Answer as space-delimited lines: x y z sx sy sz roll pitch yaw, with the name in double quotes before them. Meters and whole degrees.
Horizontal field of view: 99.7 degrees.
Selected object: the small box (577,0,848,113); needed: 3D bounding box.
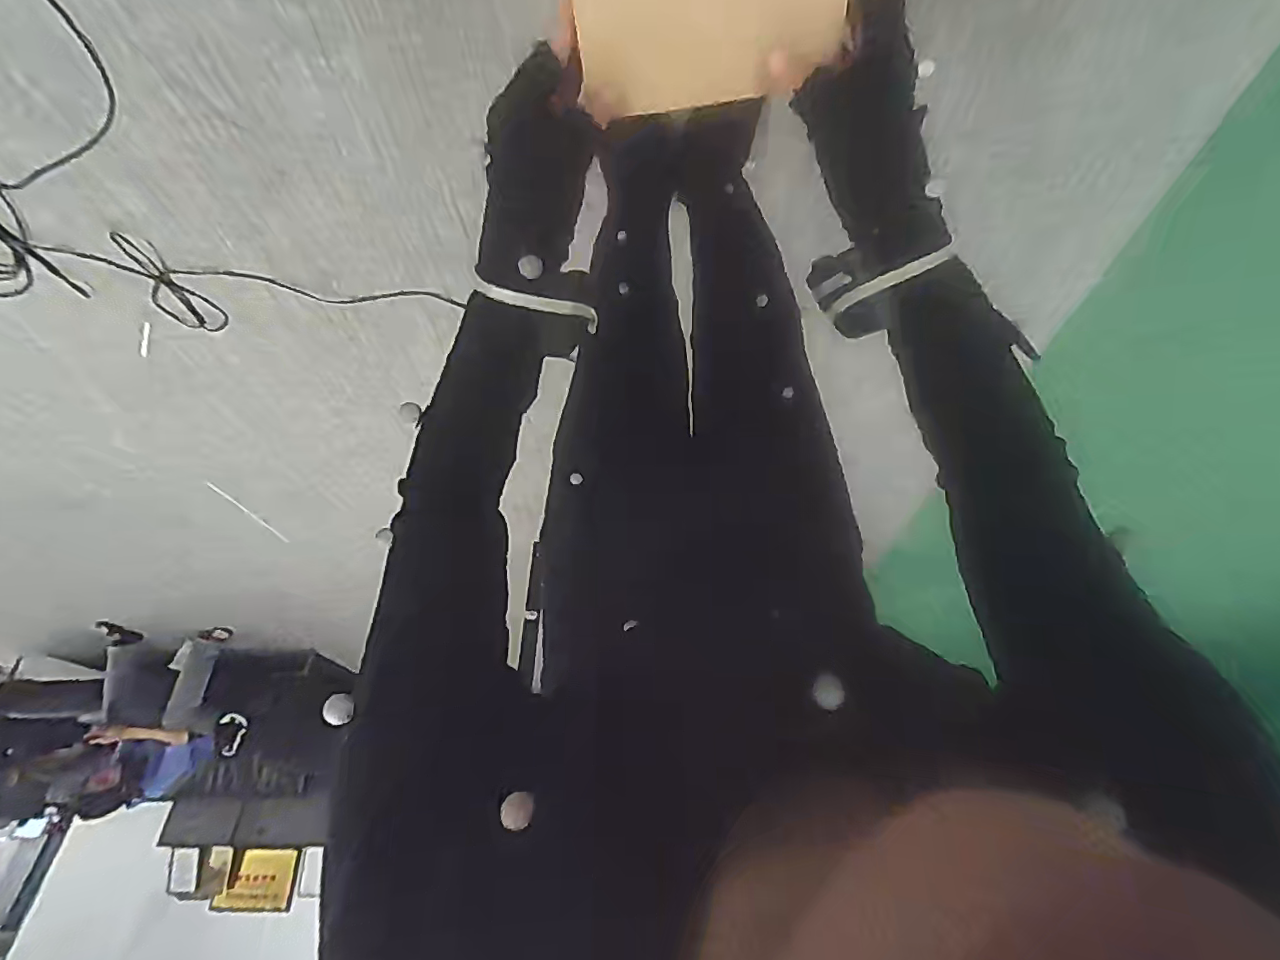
"small box" 0.035 -0.370 0.355 0.168 0.176 0.179 -8 133 1
